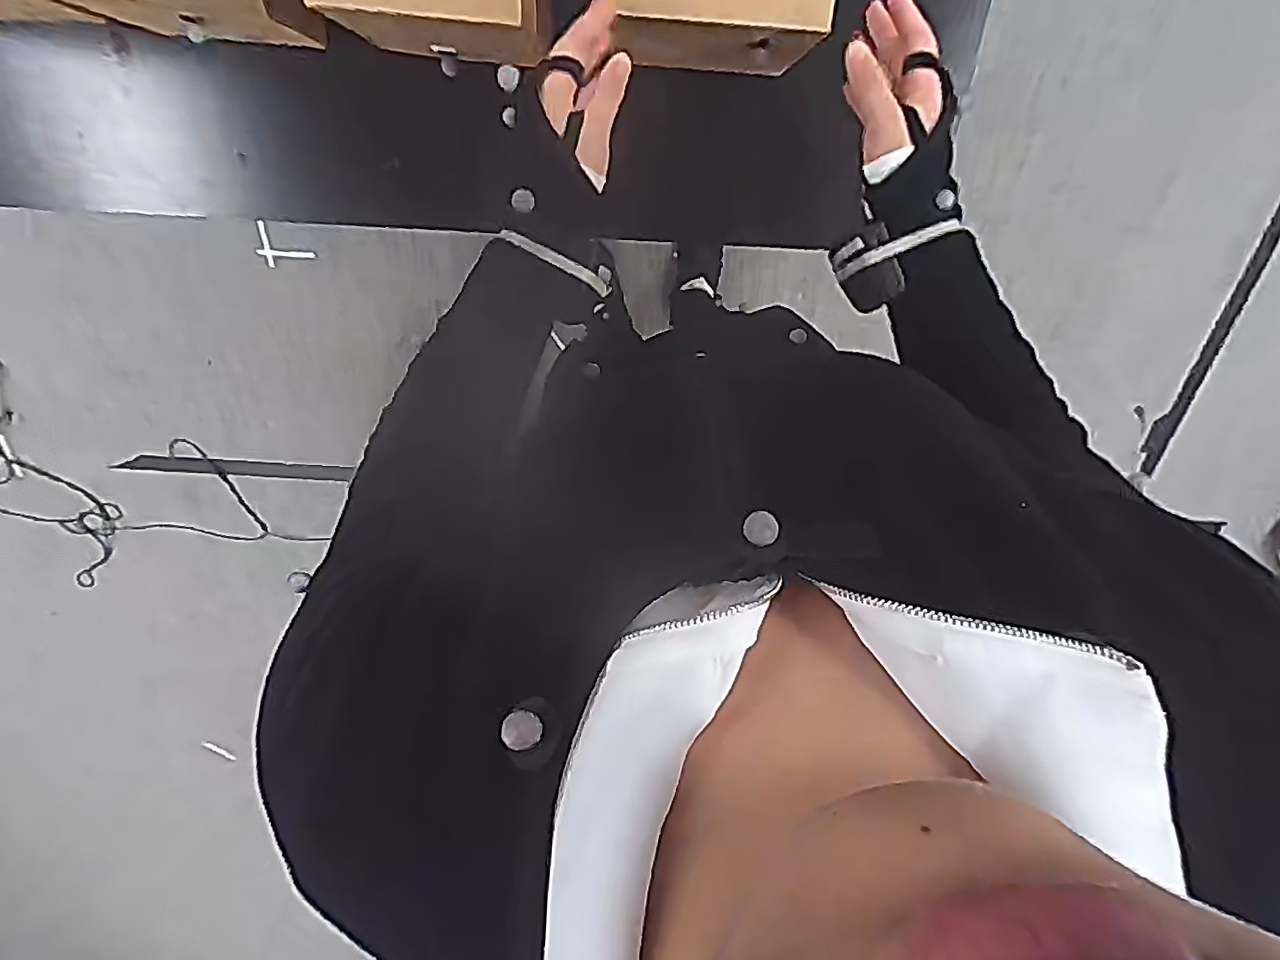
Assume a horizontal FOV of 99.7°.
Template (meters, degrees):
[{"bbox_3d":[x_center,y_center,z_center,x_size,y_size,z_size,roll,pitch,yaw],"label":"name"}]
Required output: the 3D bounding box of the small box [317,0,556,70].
[{"bbox_3d":[-0.162,-0.472,0.449,0.168,0.176,0.179,4,118,-1],"label":"small box"}]

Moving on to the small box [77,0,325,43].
[{"bbox_3d":[-0.388,-0.483,0.438,0.168,0.176,0.179,3,118,-2],"label":"small box"}]

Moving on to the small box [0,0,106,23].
[{"bbox_3d":[-0.603,-0.491,0.430,0.179,0.176,0.168,0,118,-2],"label":"small box"}]
